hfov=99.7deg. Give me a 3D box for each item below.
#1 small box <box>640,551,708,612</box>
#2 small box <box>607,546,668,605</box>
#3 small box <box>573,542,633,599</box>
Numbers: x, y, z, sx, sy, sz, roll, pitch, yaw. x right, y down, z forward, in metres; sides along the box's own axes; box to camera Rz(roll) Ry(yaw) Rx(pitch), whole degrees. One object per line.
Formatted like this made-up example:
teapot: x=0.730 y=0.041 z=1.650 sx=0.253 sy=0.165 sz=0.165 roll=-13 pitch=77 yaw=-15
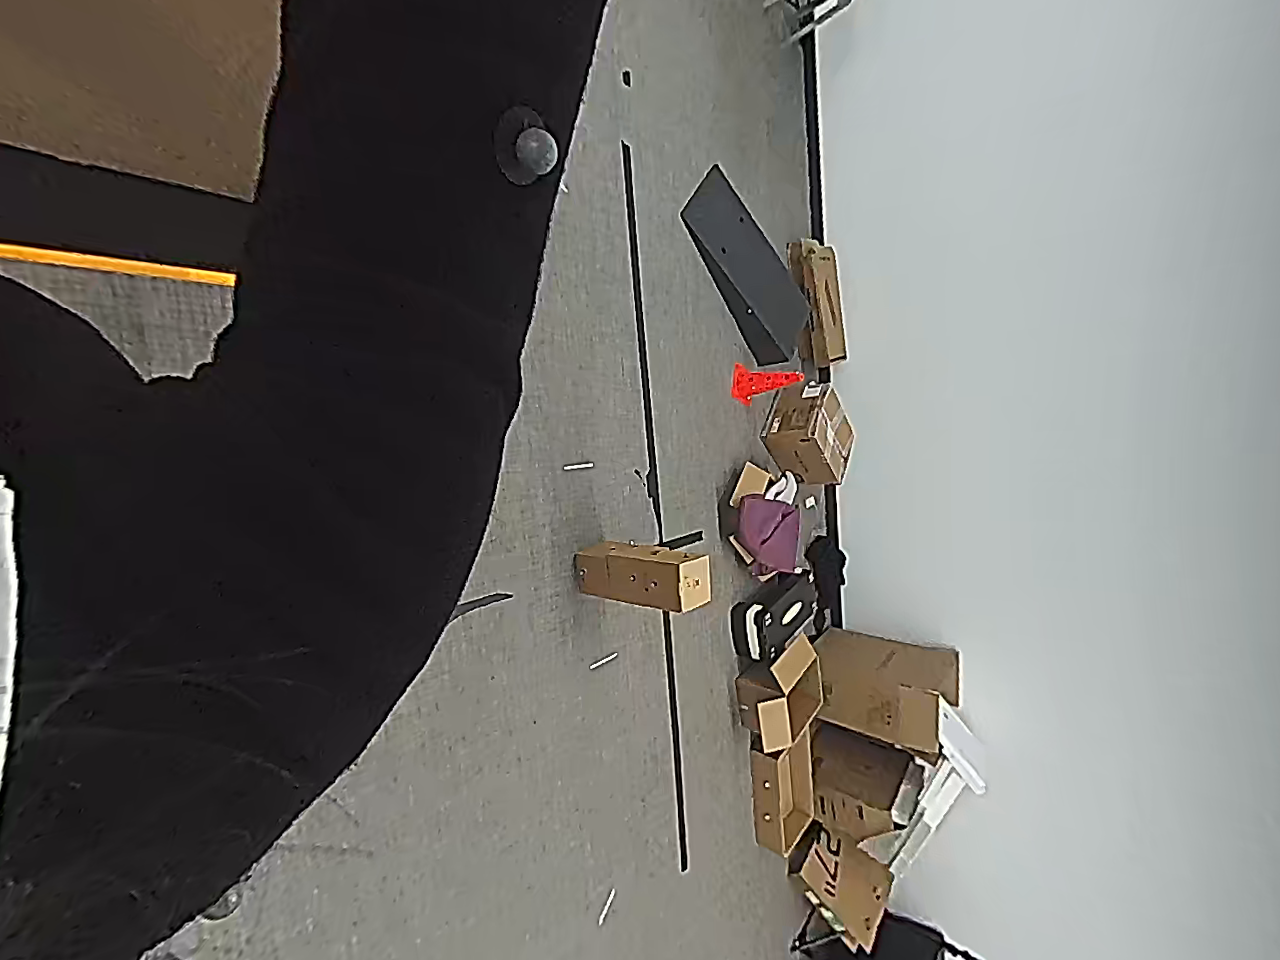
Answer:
small box: x=0.119 y=0.346 z=1.877 sx=0.179 sy=0.176 sz=0.168 roll=-7 pitch=95 yaw=-49
small box: x=-0.007 y=0.343 z=1.982 sx=0.168 sy=0.176 sz=0.179 roll=-12 pitch=99 yaw=-48
small box: x=-0.132 y=0.342 z=2.090 sx=0.179 sy=0.176 sz=0.168 roll=-18 pitch=103 yaw=-47
